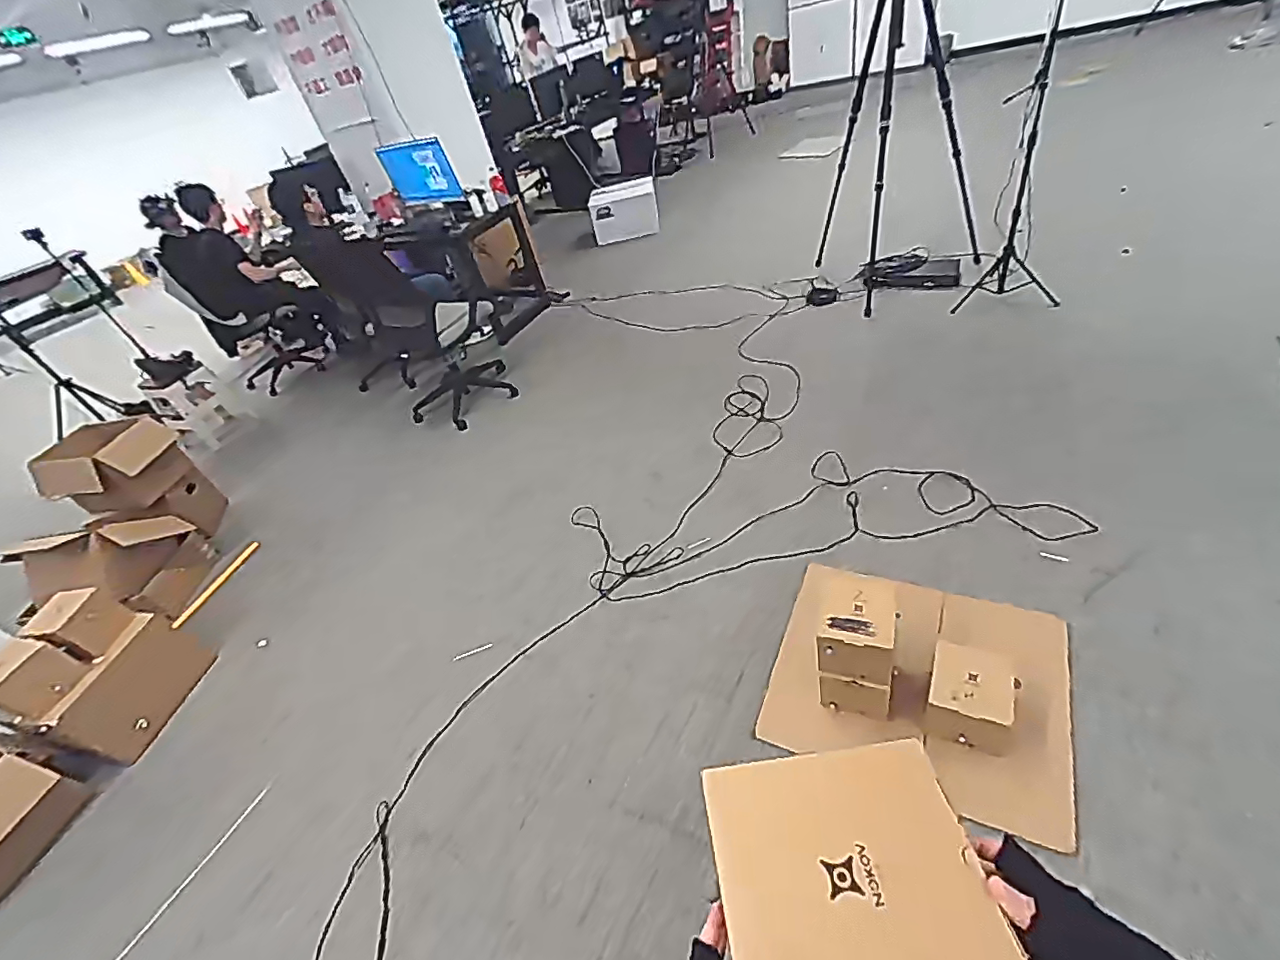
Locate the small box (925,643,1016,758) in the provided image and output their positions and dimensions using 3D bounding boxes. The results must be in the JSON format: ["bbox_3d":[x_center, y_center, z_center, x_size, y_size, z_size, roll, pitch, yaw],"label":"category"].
[{"bbox_3d":[0.796,0.533,1.311,0.168,0.176,0.179,8,47,30],"label":"small box"}]

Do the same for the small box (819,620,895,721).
[{"bbox_3d":[0.574,0.502,1.423,0.168,0.176,0.179,6,45,26],"label":"small box"}]

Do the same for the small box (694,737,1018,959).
[{"bbox_3d":[0.145,0.326,0.411,0.179,0.176,0.168,-9,38,1],"label":"small box"}]
